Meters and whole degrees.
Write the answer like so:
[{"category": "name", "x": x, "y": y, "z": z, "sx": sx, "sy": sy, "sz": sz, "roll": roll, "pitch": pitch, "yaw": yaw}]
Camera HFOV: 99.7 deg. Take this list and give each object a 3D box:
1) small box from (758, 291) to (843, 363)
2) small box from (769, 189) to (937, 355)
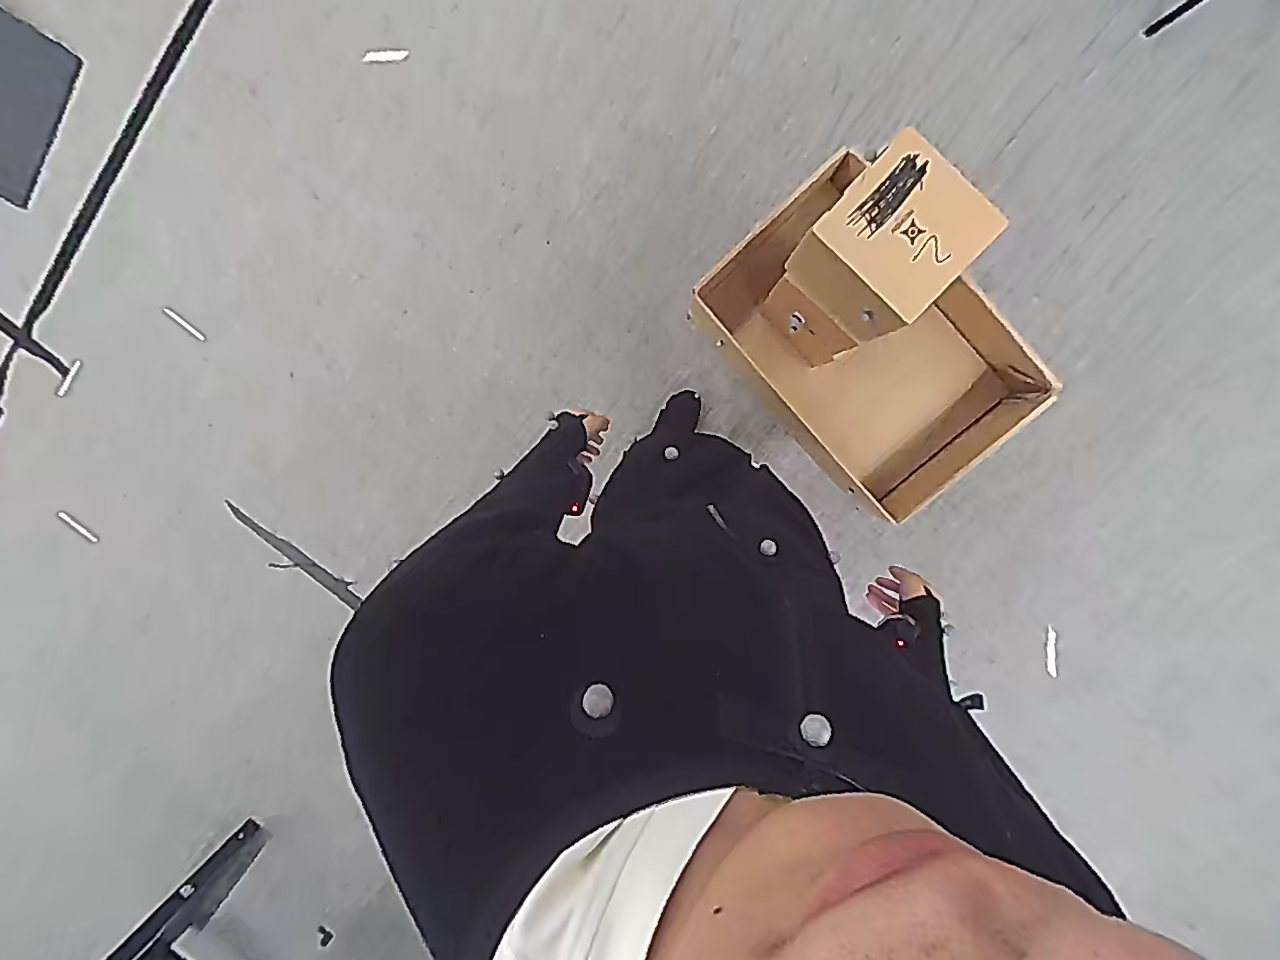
[{"category": "small box", "x": 0.357, "y": -0.347, "z": 1.069, "sx": 0.179, "sy": 0.176, "sz": 0.168, "roll": 44, "pitch": 98, "yaw": -4}, {"category": "small box", "x": 0.340, "y": -0.334, "z": 0.906, "sx": 0.168, "sy": 0.176, "sz": 0.179, "roll": 42, "pitch": 98, "yaw": -2}]
